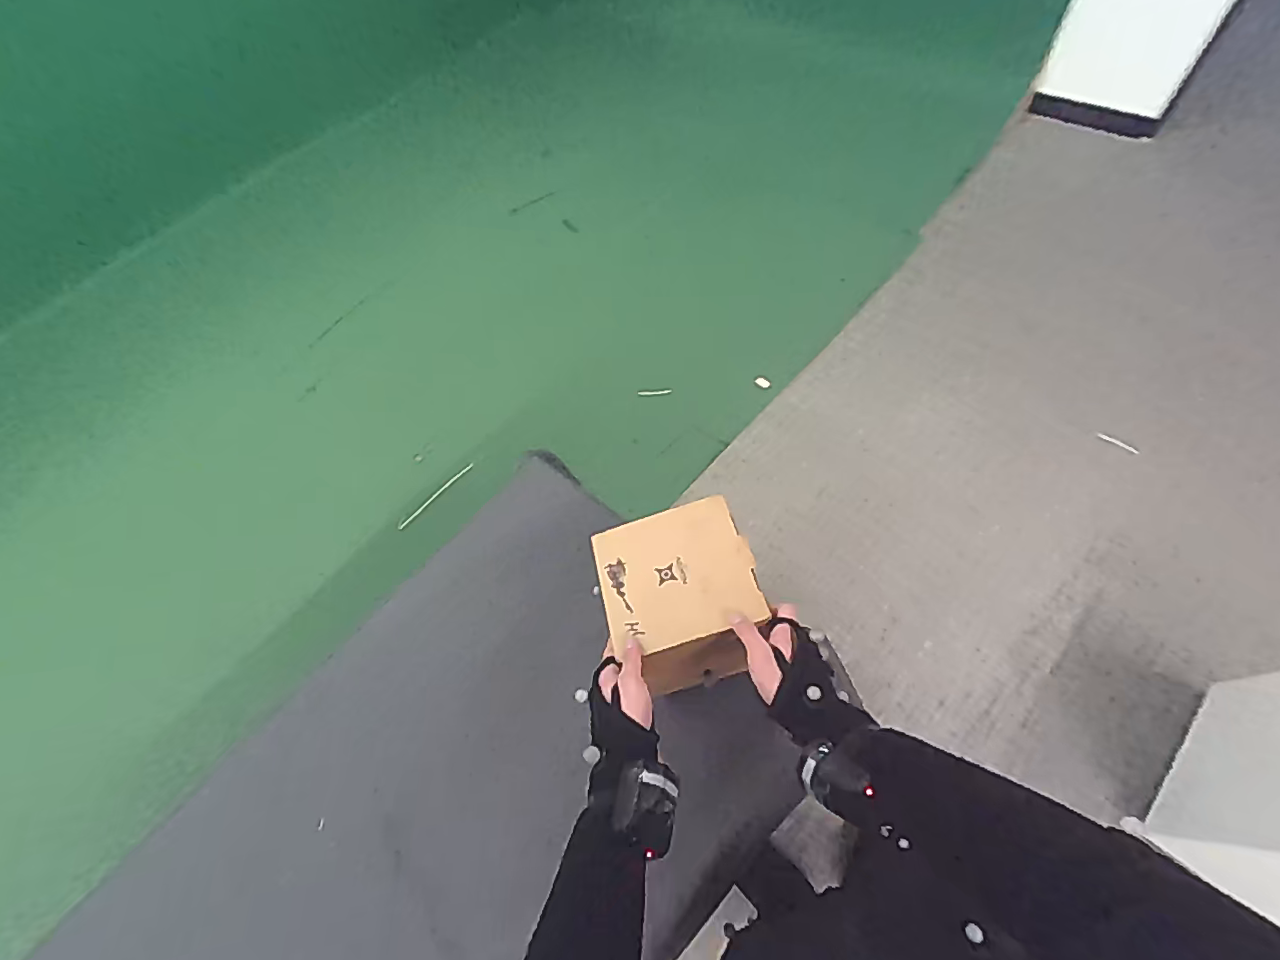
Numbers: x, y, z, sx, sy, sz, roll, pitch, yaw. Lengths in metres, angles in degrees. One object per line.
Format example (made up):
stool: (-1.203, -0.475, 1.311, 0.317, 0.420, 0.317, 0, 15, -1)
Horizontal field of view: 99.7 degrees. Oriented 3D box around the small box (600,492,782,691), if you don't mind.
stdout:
small box: (0.062, 0.144, 0.672, 0.179, 0.176, 0.168, -15, 53, 1)
